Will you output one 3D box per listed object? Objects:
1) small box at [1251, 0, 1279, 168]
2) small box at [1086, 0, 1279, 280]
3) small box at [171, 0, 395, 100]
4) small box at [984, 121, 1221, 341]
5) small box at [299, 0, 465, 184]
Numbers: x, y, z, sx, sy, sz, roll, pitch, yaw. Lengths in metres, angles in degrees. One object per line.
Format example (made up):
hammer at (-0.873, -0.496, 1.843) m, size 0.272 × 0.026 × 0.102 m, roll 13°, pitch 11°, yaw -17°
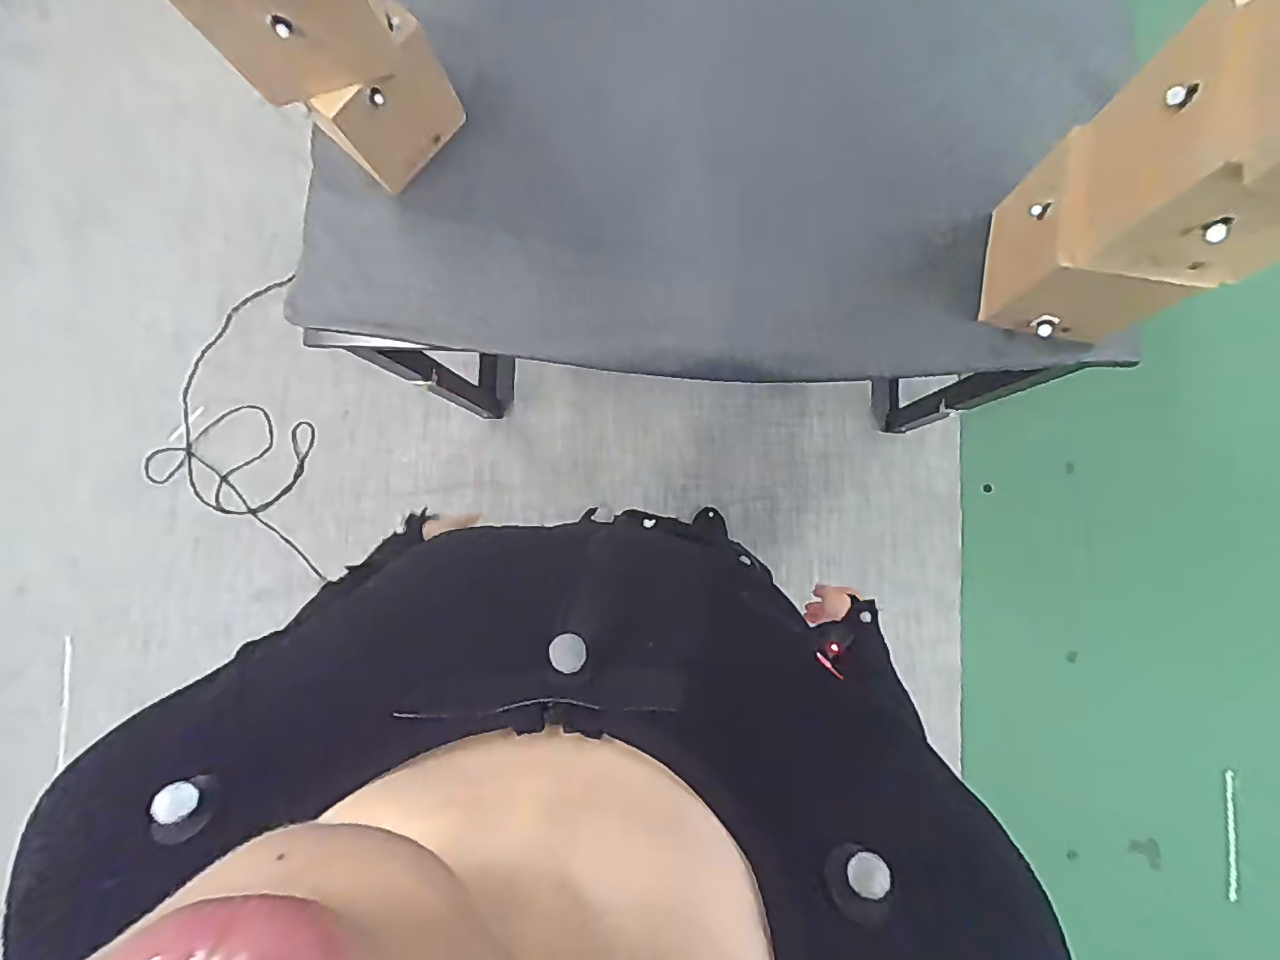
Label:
small box at (0.559, -0.308, 0.342) m, size 0.168 × 0.176 × 0.179 m, roll 10°, pitch 83°, yaw 5°
small box at (0.566, -0.313, 0.509) m, size 0.168 × 0.176 × 0.179 m, roll 9°, pitch 83°, yaw 5°
small box at (-0.390, -0.563, 0.583) m, size 0.179 × 0.176 × 0.168 m, roll -16°, pitch 87°, yaw 3°
small box at (0.561, -0.295, 0.671) m, size 0.168 × 0.176 × 0.179 m, roll 11°, pitch 85°, yaw 6°
small box at (-0.381, -0.559, 0.748) m, size 0.179 × 0.176 × 0.168 m, roll 43°, pitch 90°, yaw 4°
